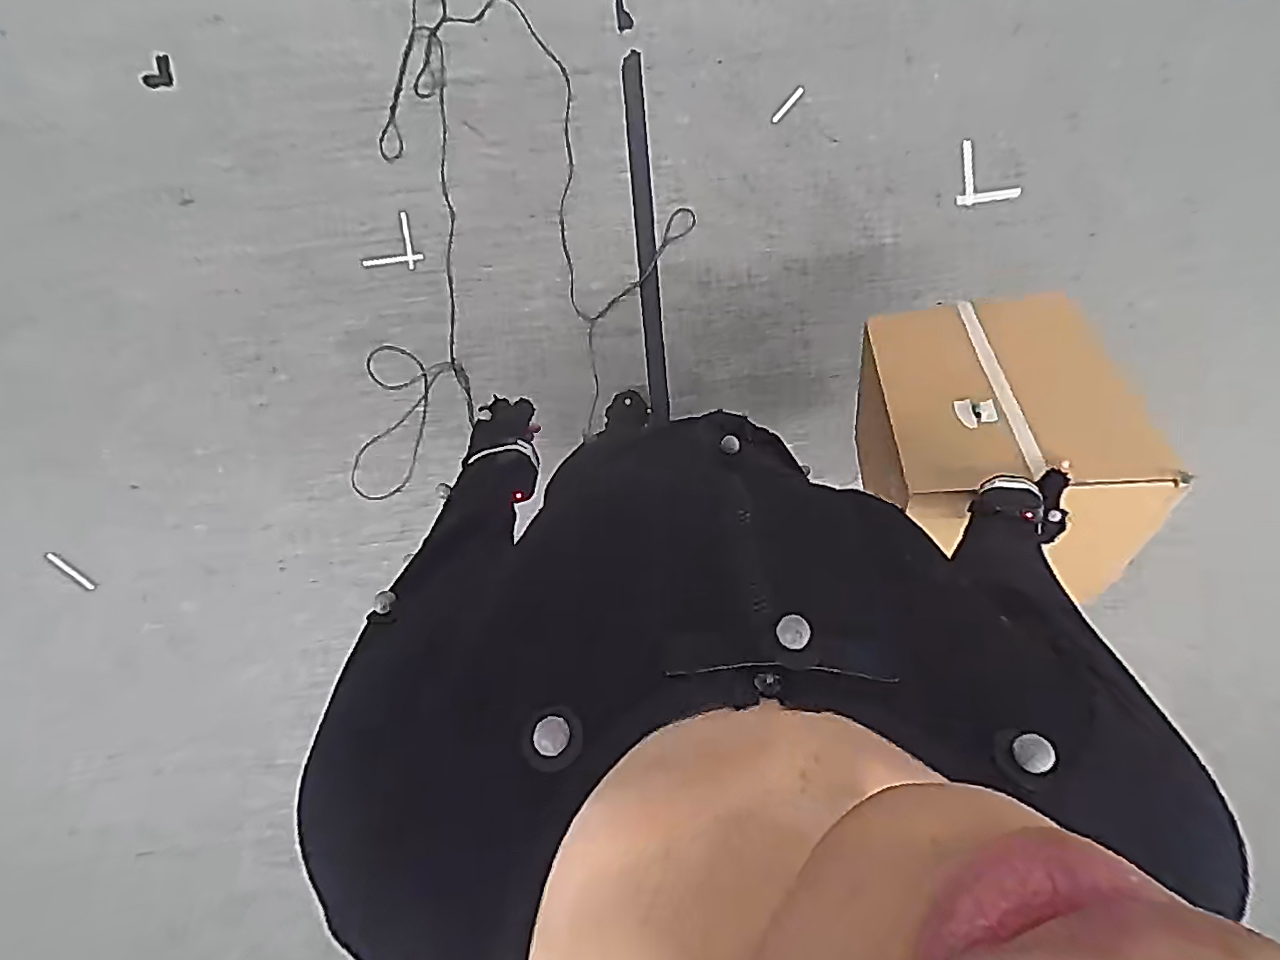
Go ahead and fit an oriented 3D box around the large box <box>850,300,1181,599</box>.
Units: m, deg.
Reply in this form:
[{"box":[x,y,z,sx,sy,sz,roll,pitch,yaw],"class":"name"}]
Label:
[{"box":[0.563,-0.046,0.928,0.320,0.408,0.320,-5,141,14],"class":"large box"}]
